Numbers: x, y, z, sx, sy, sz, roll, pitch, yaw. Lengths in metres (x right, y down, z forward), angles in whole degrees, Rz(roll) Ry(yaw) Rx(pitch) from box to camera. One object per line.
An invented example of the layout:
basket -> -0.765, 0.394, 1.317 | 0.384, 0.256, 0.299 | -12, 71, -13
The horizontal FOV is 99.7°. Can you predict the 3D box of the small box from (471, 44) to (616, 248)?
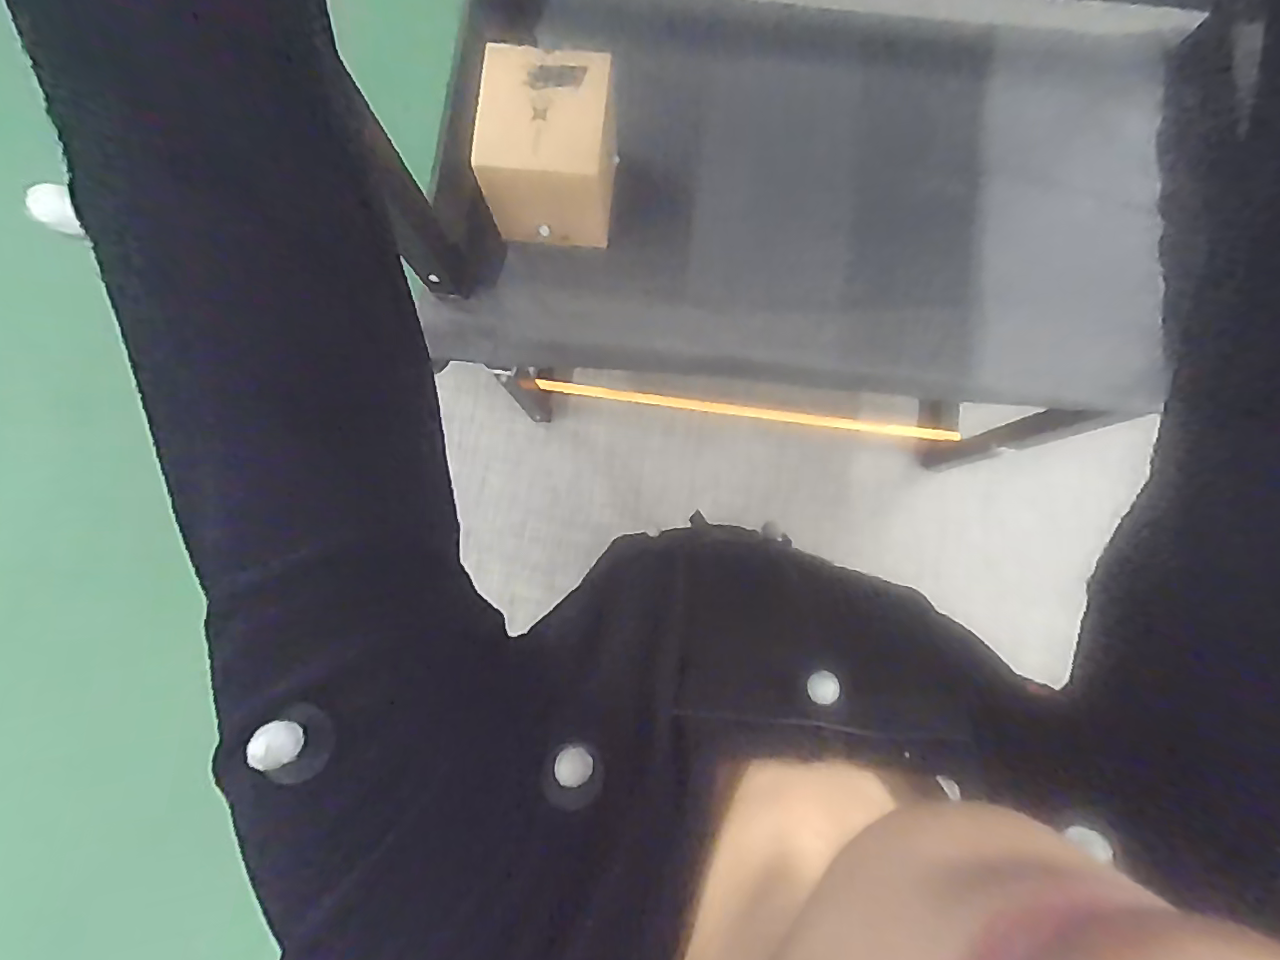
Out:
small box -> -0.124, -0.461, 0.767 | 0.168, 0.176, 0.179 | 5, 82, 1
